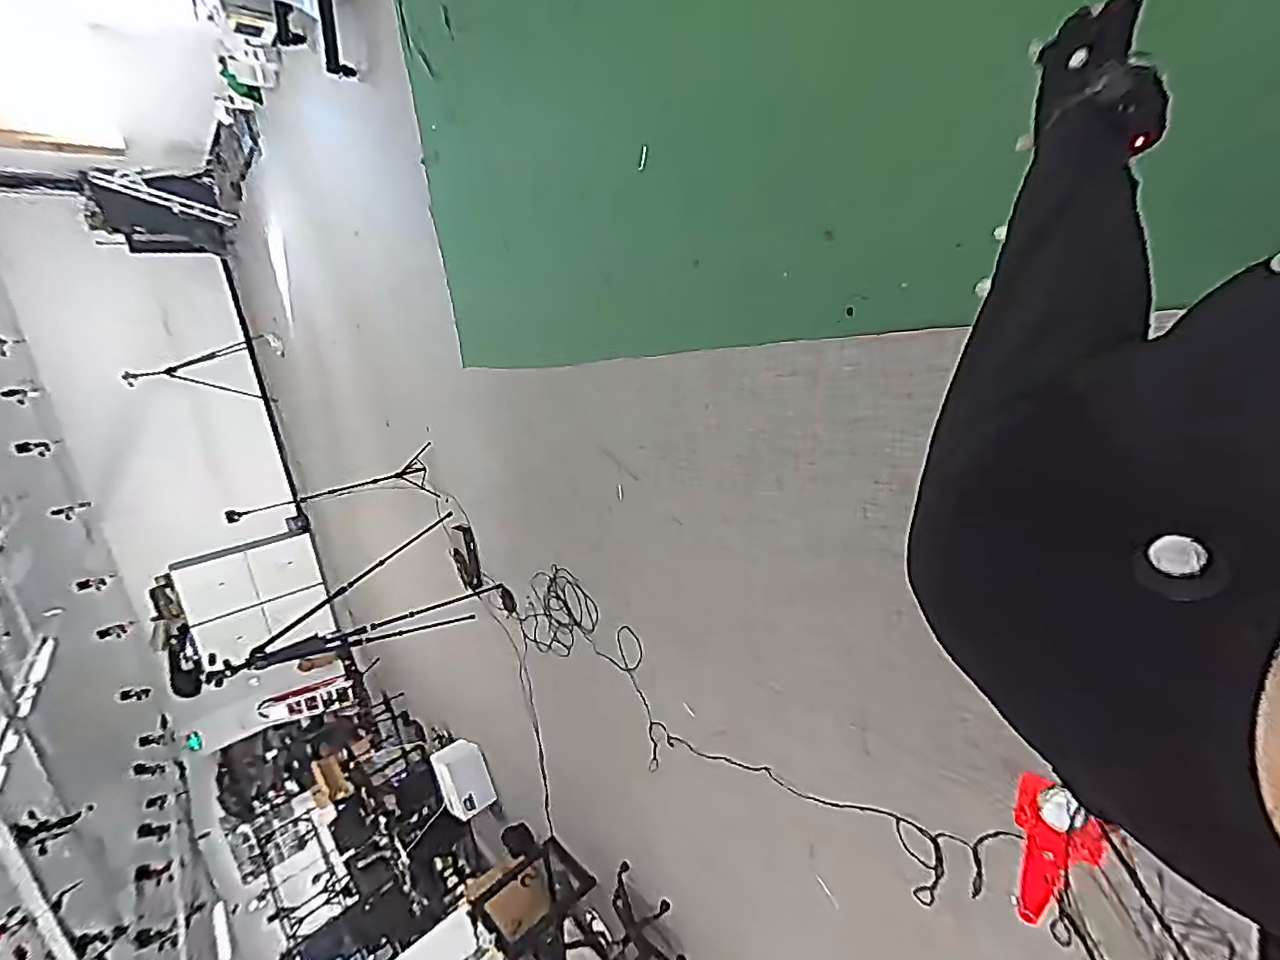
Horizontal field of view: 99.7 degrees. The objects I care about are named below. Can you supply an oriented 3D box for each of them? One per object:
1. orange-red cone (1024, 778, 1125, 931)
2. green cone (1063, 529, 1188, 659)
[{"bbox_3d":[1.039,0.960,1.341,0.198,0.360,0.199,14,114,44],"label":"orange-red cone"},{"bbox_3d":[0.972,0.264,1.126,0.200,0.368,0.202,12,115,46],"label":"green cone"}]
